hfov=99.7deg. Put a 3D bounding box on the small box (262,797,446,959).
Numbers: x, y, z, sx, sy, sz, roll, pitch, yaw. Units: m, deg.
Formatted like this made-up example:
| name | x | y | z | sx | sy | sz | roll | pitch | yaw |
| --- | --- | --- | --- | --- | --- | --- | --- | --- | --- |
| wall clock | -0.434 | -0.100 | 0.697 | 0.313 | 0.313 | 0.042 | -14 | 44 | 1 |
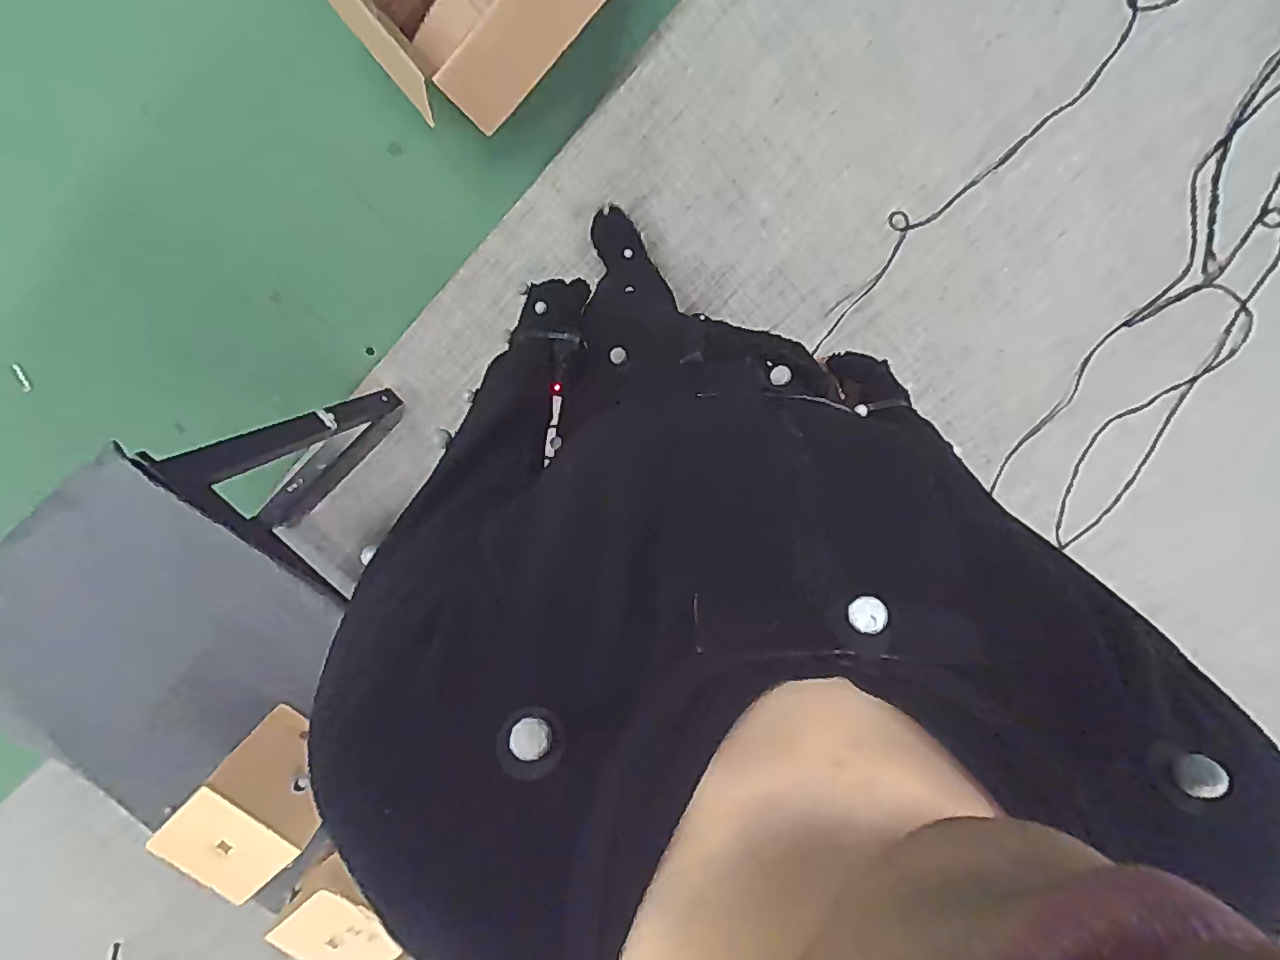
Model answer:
| name | x | y | z | sx | sy | sz | roll | pitch | yaw |
| --- | --- | --- | --- | --- | --- | --- | --- | --- | --- |
| small box | -0.454 | 0.674 | 0.887 | 0.168 | 0.176 | 0.179 | 44 | 105 | -10 |
